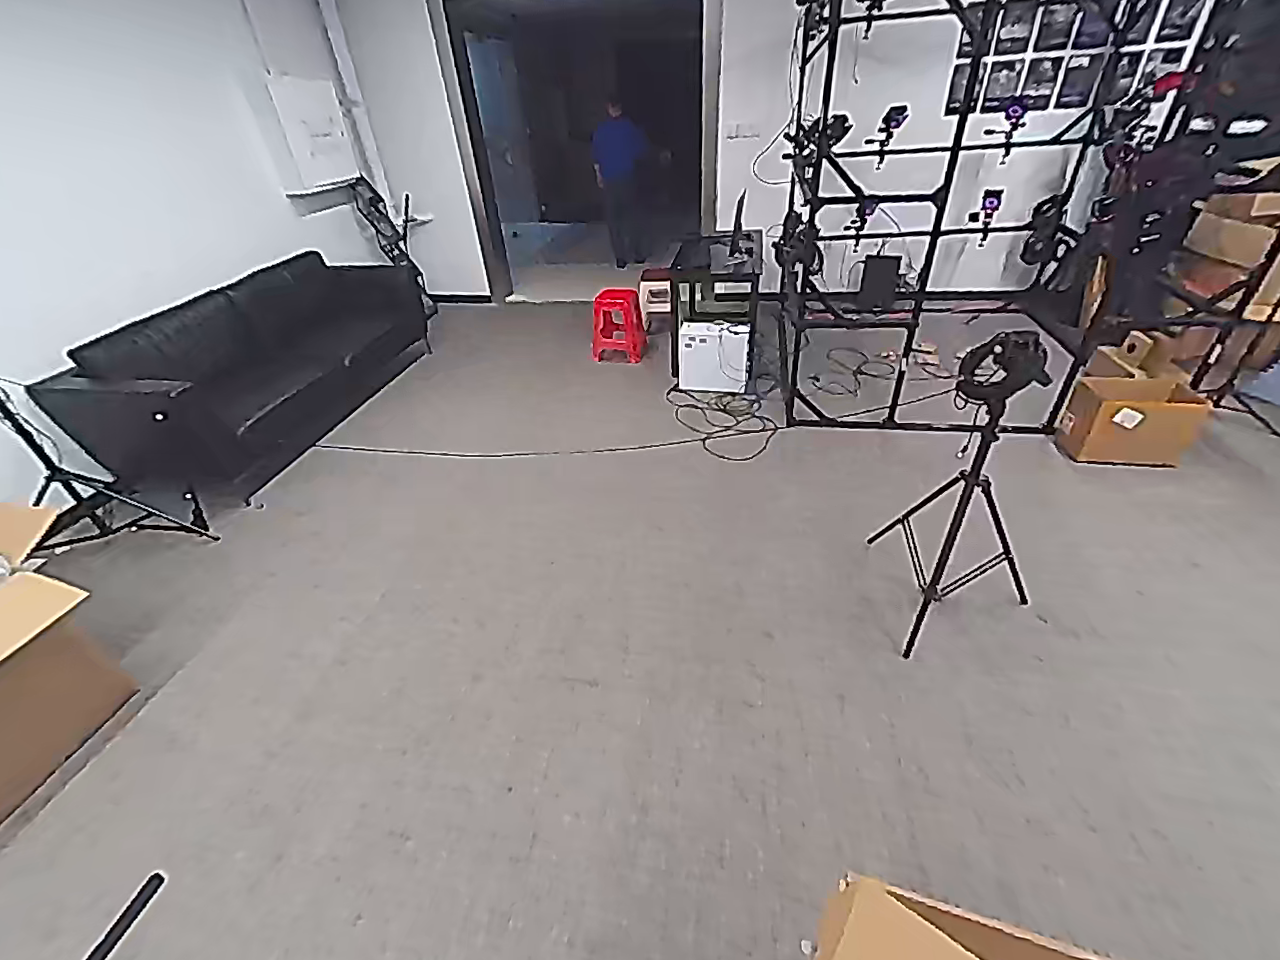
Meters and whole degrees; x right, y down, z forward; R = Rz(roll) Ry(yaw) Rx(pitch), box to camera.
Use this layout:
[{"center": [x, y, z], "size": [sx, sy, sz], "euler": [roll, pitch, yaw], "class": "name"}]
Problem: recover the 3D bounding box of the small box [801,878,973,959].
[{"center": [0.273, 0.587, 0.591], "size": [0.179, 0.176, 0.168], "euler": [26, 52, 26], "class": "small box"}]
